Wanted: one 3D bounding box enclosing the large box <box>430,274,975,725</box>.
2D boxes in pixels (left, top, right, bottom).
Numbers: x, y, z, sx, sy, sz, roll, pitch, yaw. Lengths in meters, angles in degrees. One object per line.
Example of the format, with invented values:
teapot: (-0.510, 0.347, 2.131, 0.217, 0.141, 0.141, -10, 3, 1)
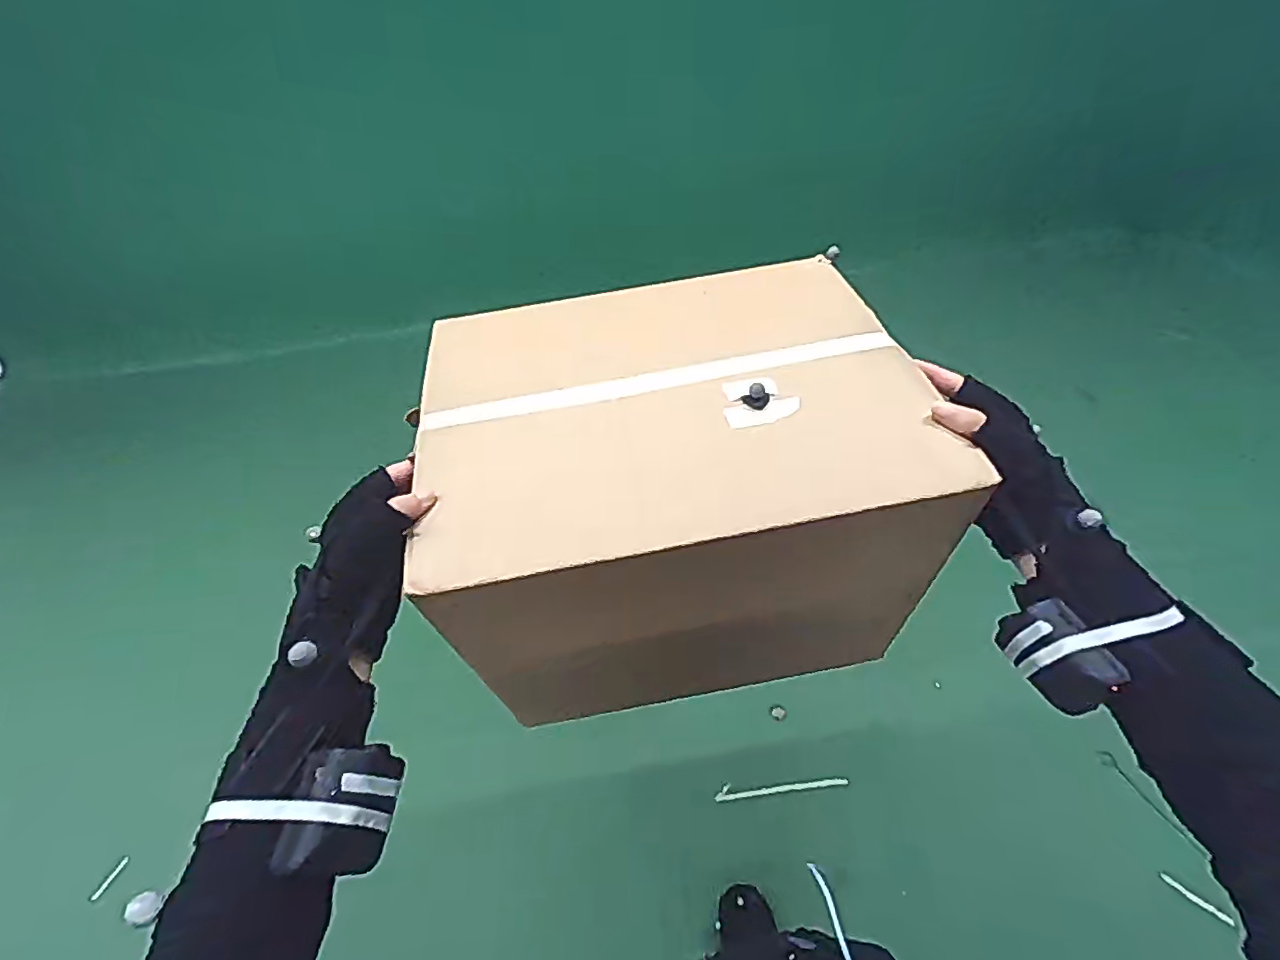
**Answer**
large box: (0.032, 0.024, 0.583, 0.408, 0.320, 0.320, -11, 51, -4)
